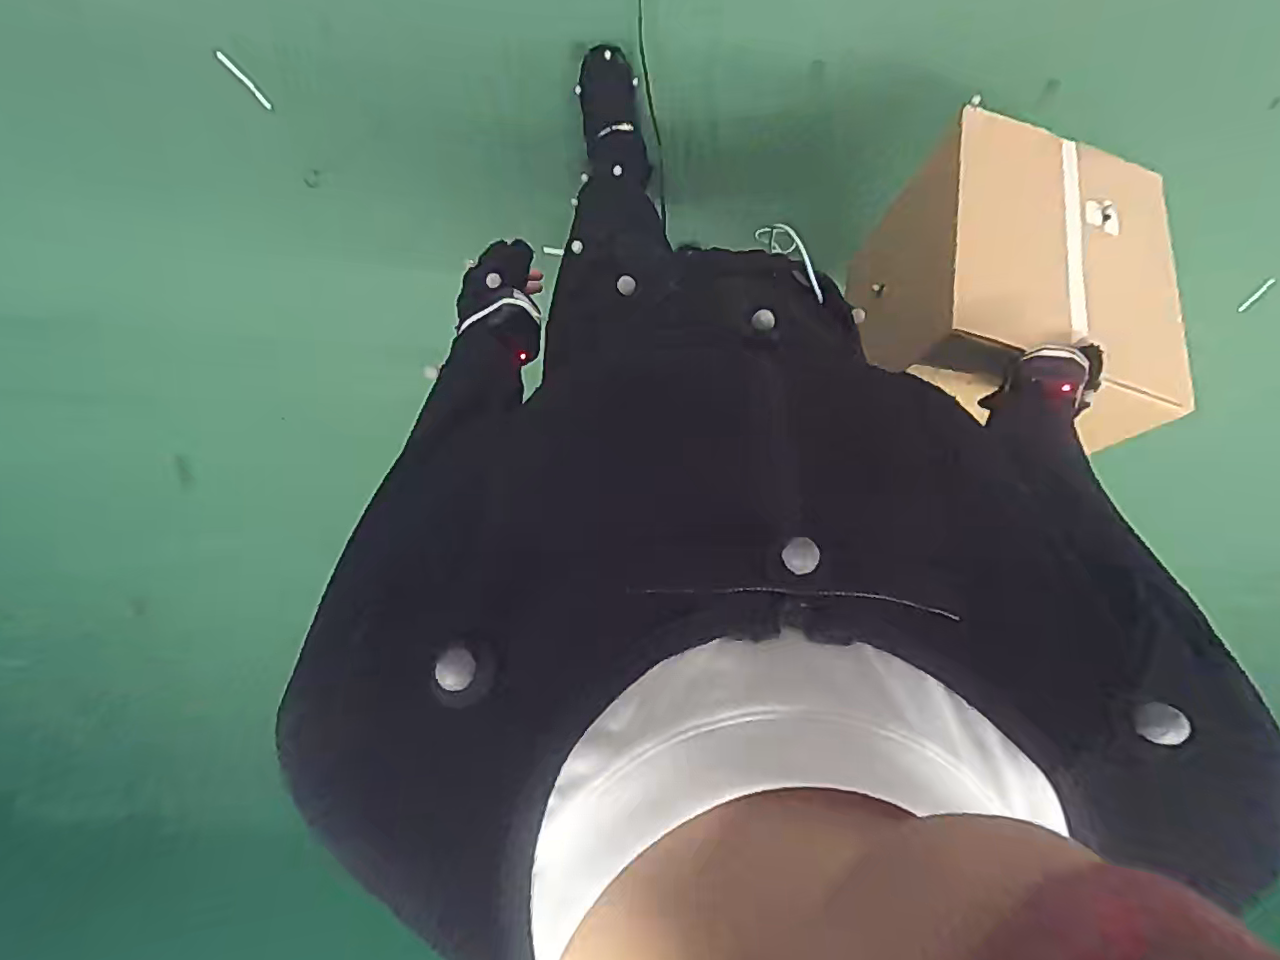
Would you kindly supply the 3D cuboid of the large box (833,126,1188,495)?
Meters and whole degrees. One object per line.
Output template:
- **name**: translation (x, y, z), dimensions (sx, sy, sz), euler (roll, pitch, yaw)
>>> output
- **large box**: translation (0.529, -0.239, 0.846), dimensions (0.320, 0.408, 0.320), euler (17, 157, -4)
